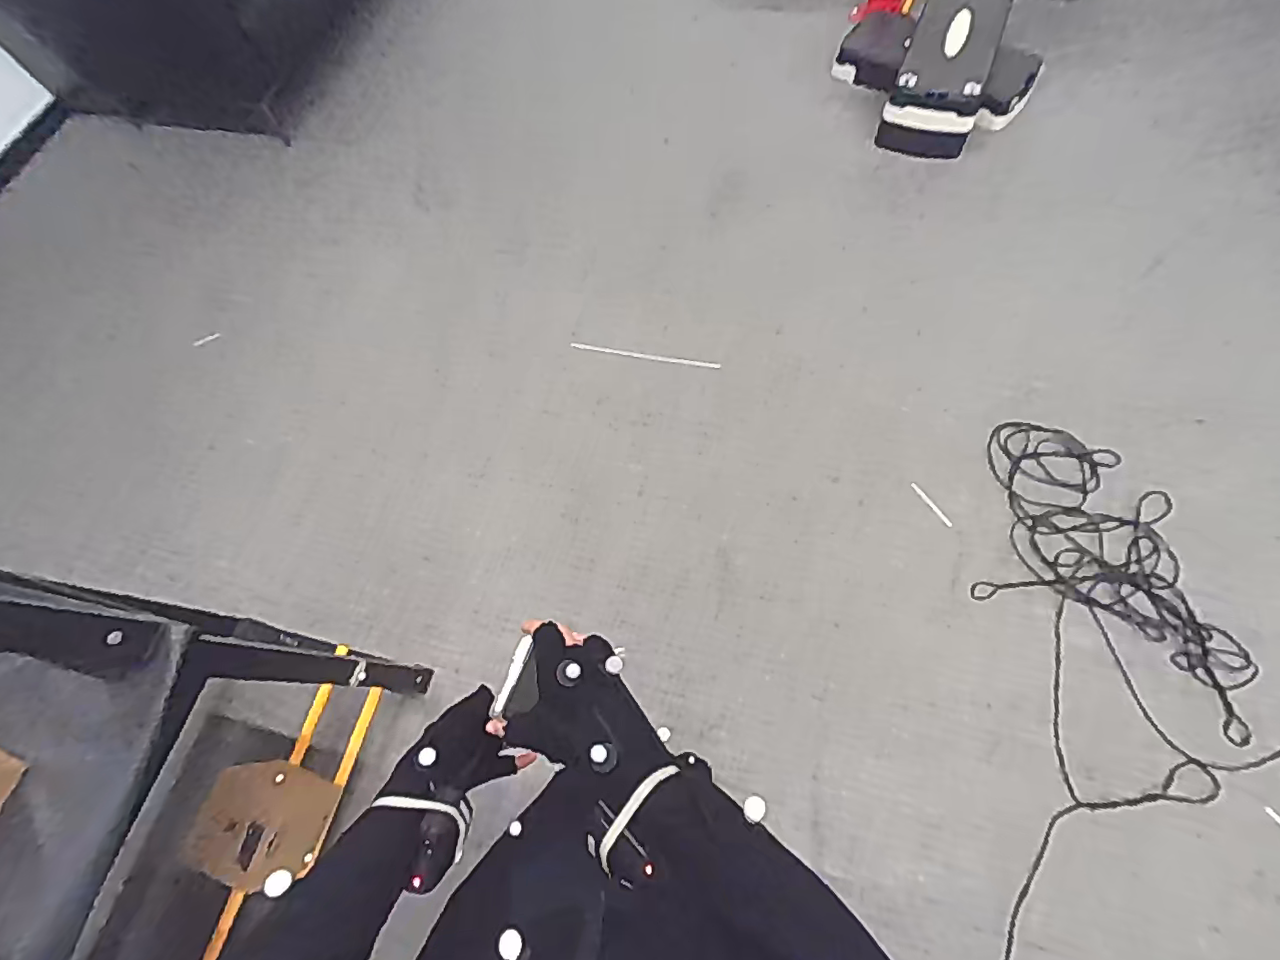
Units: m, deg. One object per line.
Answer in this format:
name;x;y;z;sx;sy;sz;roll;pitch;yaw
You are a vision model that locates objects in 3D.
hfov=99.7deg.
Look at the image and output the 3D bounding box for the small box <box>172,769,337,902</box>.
small box;-0.764;0.703;1.096;0.179;0.176;0.168;14;69;12
